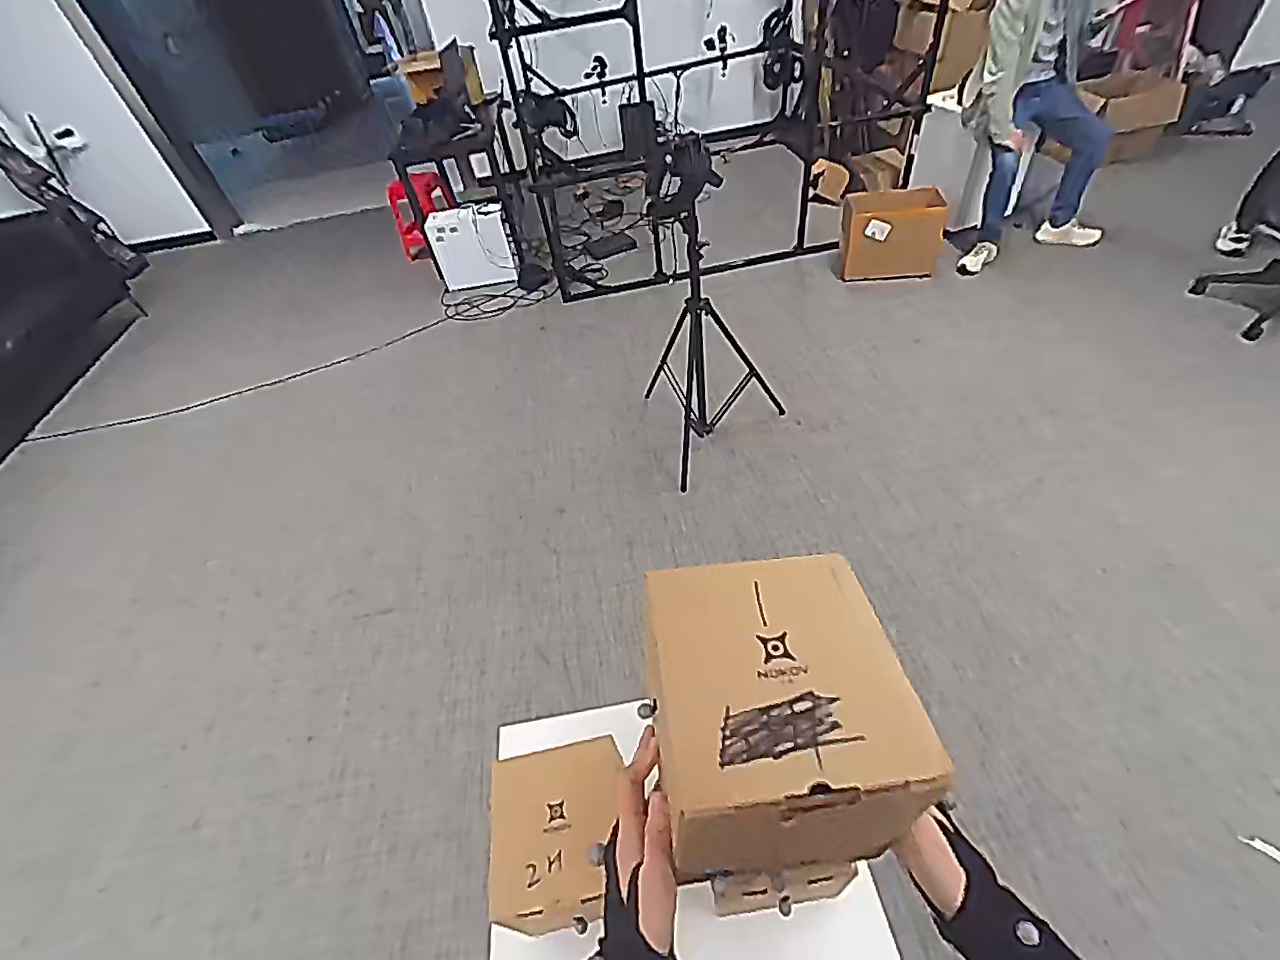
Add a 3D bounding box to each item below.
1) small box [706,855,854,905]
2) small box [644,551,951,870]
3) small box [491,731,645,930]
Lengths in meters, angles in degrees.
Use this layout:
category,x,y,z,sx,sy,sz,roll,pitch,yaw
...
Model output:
category,x,y,z,sx,sy,sz,roll,pitch,yaw
small box,0.159,0.438,0.711,0.168,0.176,0.179,-10,47,0
small box,0.094,0.181,0.422,0.168,0.176,0.179,-4,42,-5
small box,-0.093,0.470,0.725,0.168,0.176,0.179,-12,46,-2
